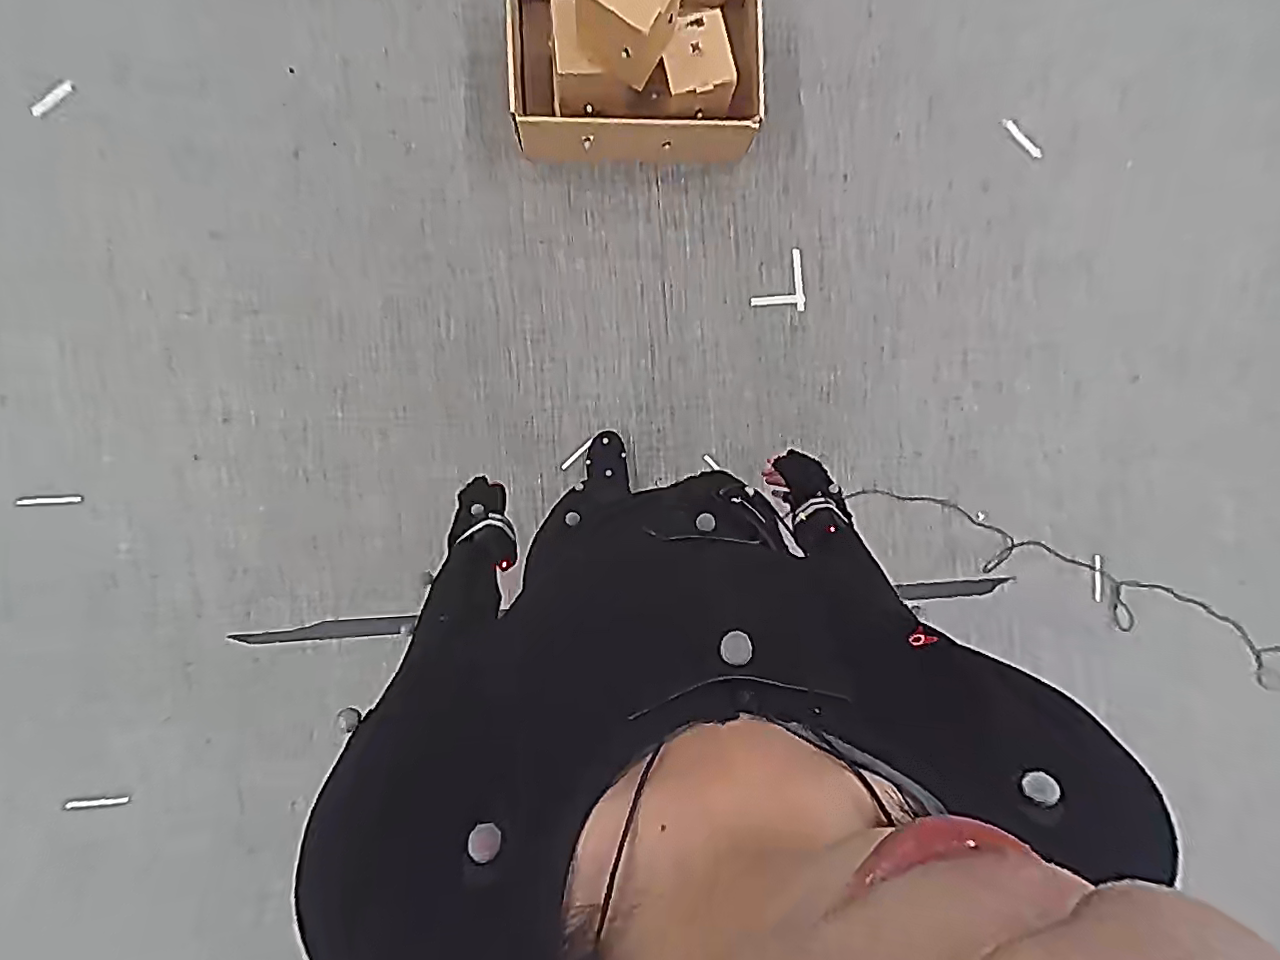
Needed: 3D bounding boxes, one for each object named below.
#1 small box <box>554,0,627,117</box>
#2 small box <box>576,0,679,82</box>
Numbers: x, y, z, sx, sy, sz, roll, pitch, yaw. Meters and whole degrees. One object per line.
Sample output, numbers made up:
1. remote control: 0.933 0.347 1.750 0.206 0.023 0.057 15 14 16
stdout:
1. small box: -0.124 -1.038 1.333 0.168 0.176 0.179 -5 92 -6
2. small box: -0.023 -1.025 1.180 0.179 0.176 0.168 30 87 -4
